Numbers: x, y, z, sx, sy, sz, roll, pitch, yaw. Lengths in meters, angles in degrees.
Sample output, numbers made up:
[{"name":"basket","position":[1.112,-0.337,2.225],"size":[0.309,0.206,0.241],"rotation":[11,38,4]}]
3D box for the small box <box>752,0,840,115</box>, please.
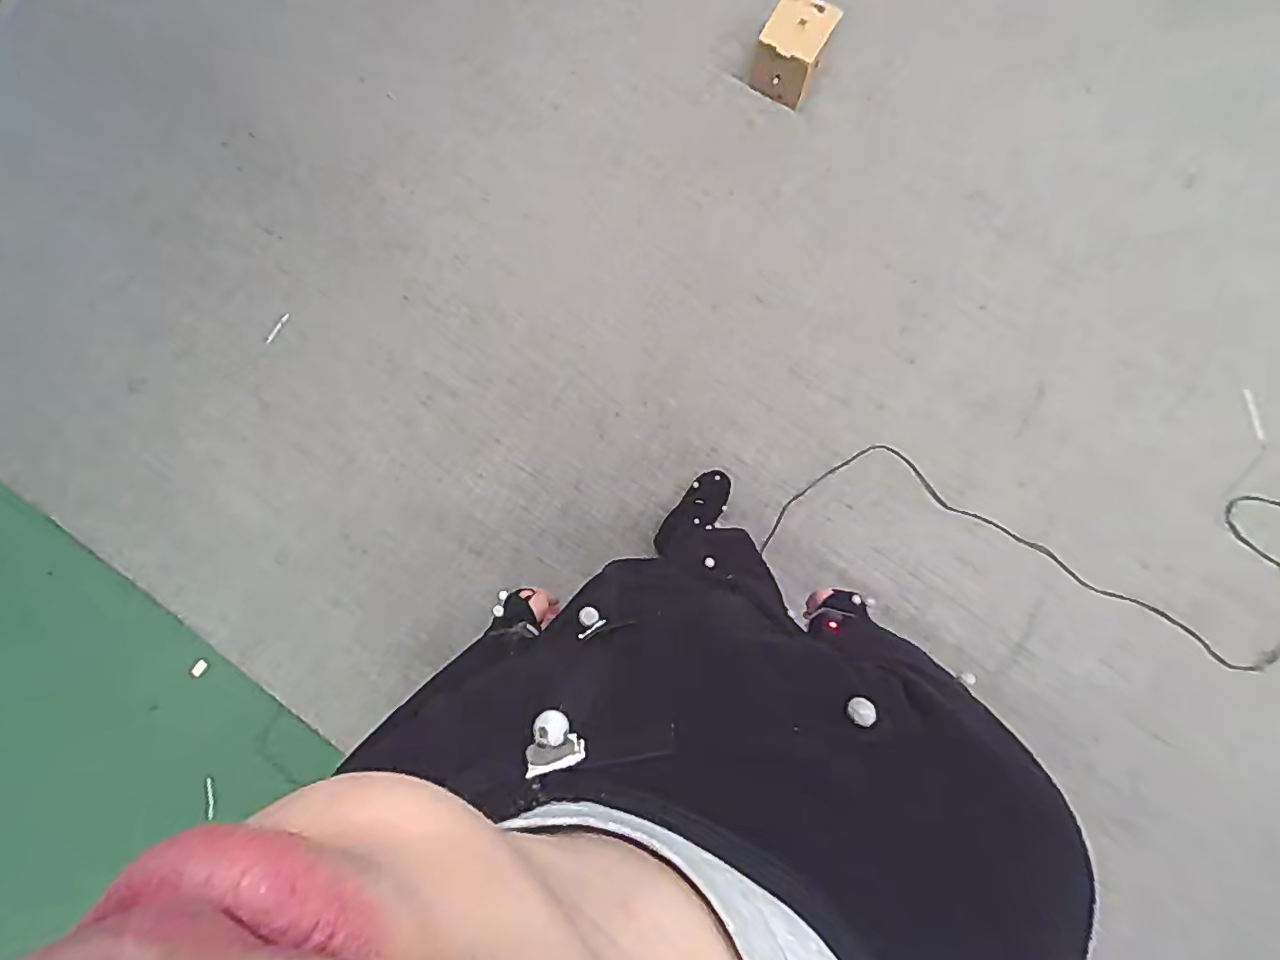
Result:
[{"name":"small box","position":[0.432,-1.194,1.535],"size":[0.168,0.176,0.179],"rotation":[32,88,5]}]
